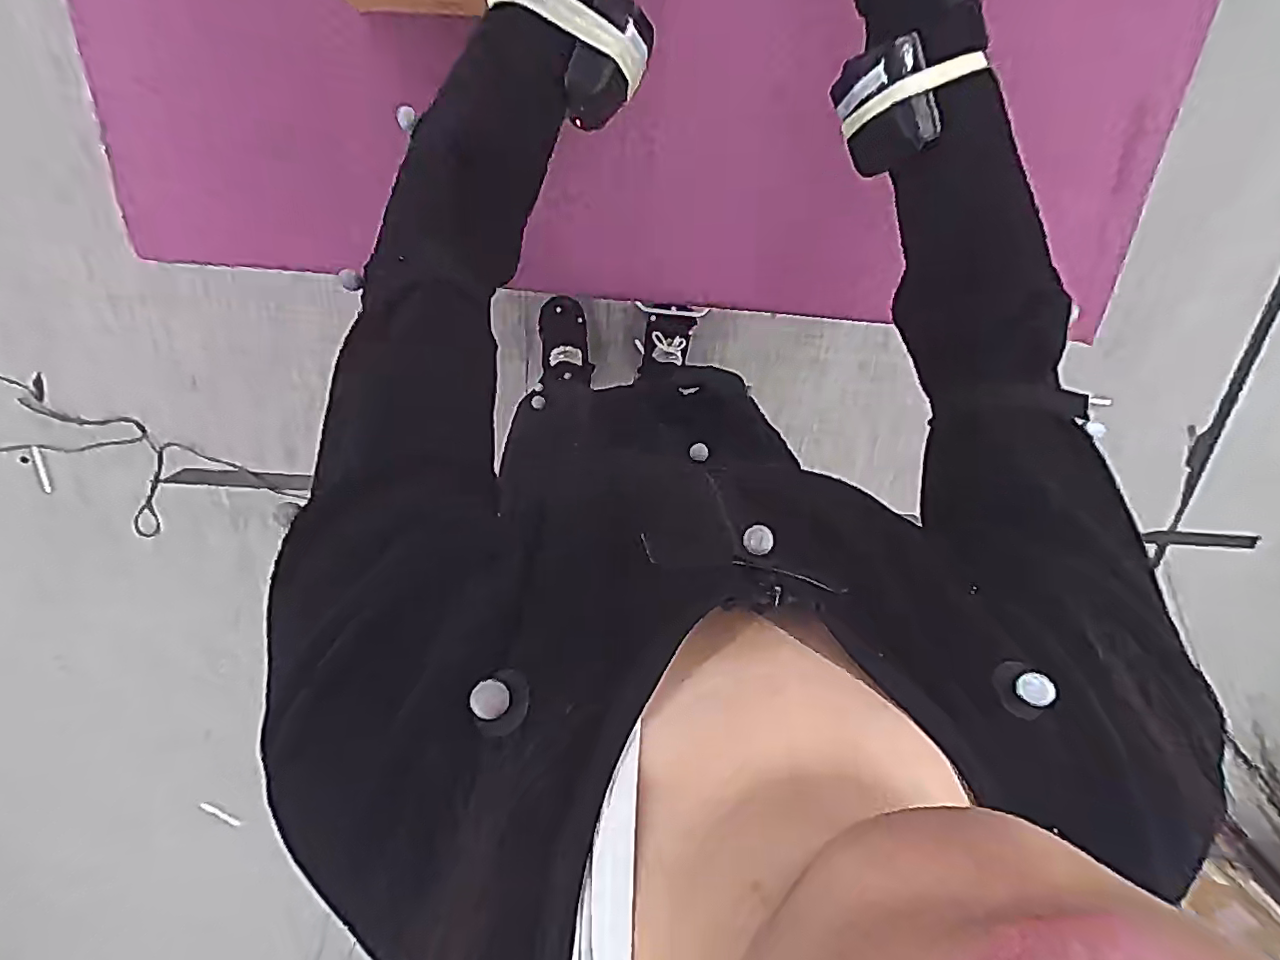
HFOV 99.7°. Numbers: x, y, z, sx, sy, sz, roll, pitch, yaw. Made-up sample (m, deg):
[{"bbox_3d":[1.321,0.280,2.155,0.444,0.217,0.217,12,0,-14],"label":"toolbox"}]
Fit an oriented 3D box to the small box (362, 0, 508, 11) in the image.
[{"bbox_3d":[-0.200,-0.535,0.459,0.179,0.176,0.168,0,112,-4],"label":"small box"}]
